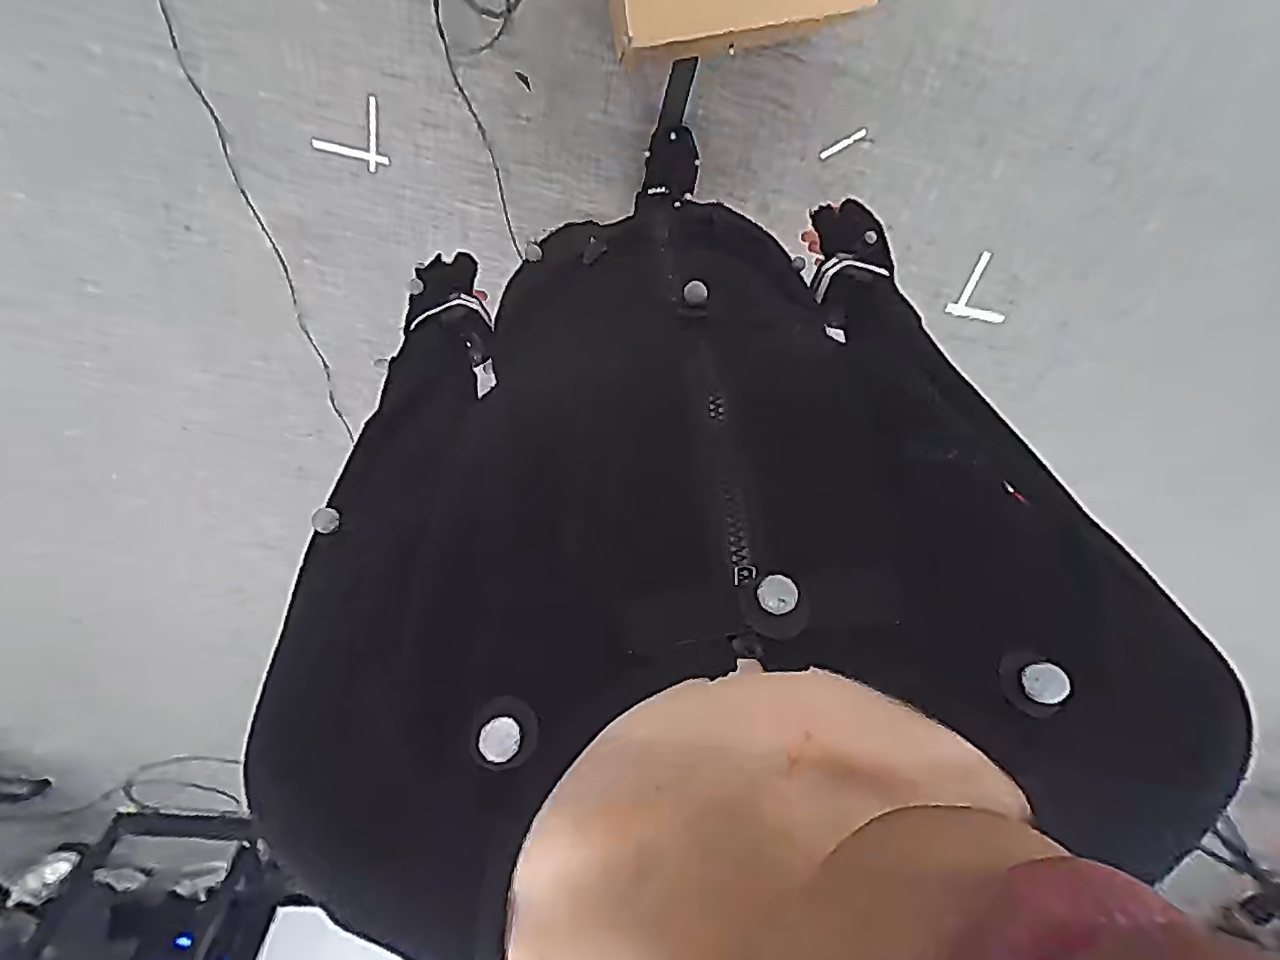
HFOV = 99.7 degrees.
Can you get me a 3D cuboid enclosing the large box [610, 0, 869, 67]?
[{"bbox_3d":[0.143,-0.932,0.915,0.408,0.320,0.320,-9,122,1],"label":"large box"}]
